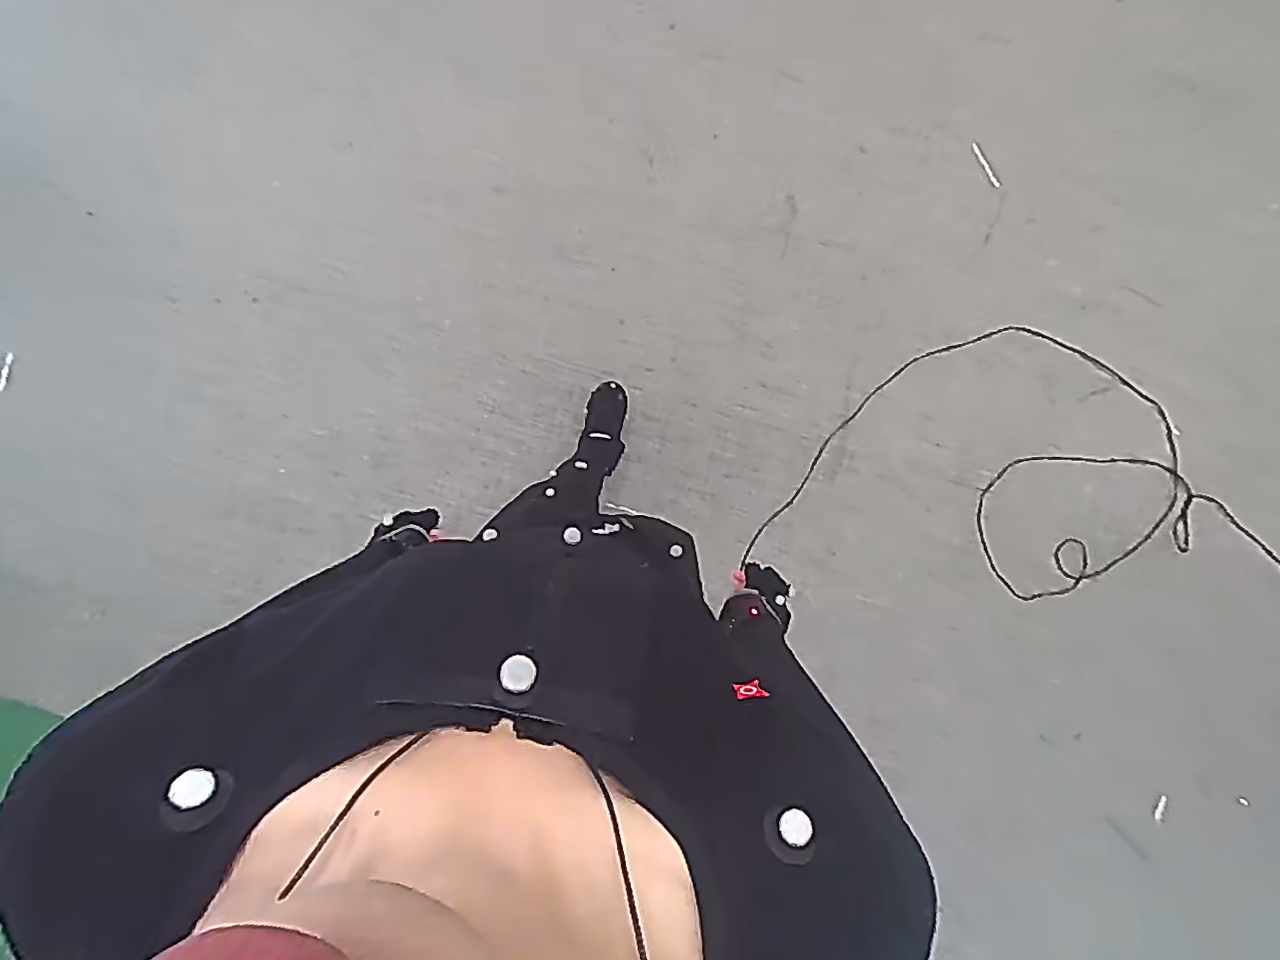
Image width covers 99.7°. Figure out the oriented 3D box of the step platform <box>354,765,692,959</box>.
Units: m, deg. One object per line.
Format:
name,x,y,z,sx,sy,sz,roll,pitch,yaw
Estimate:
step platform,-0.240,0.884,1.200,0.684,0.204,0.286,16,90,-1
